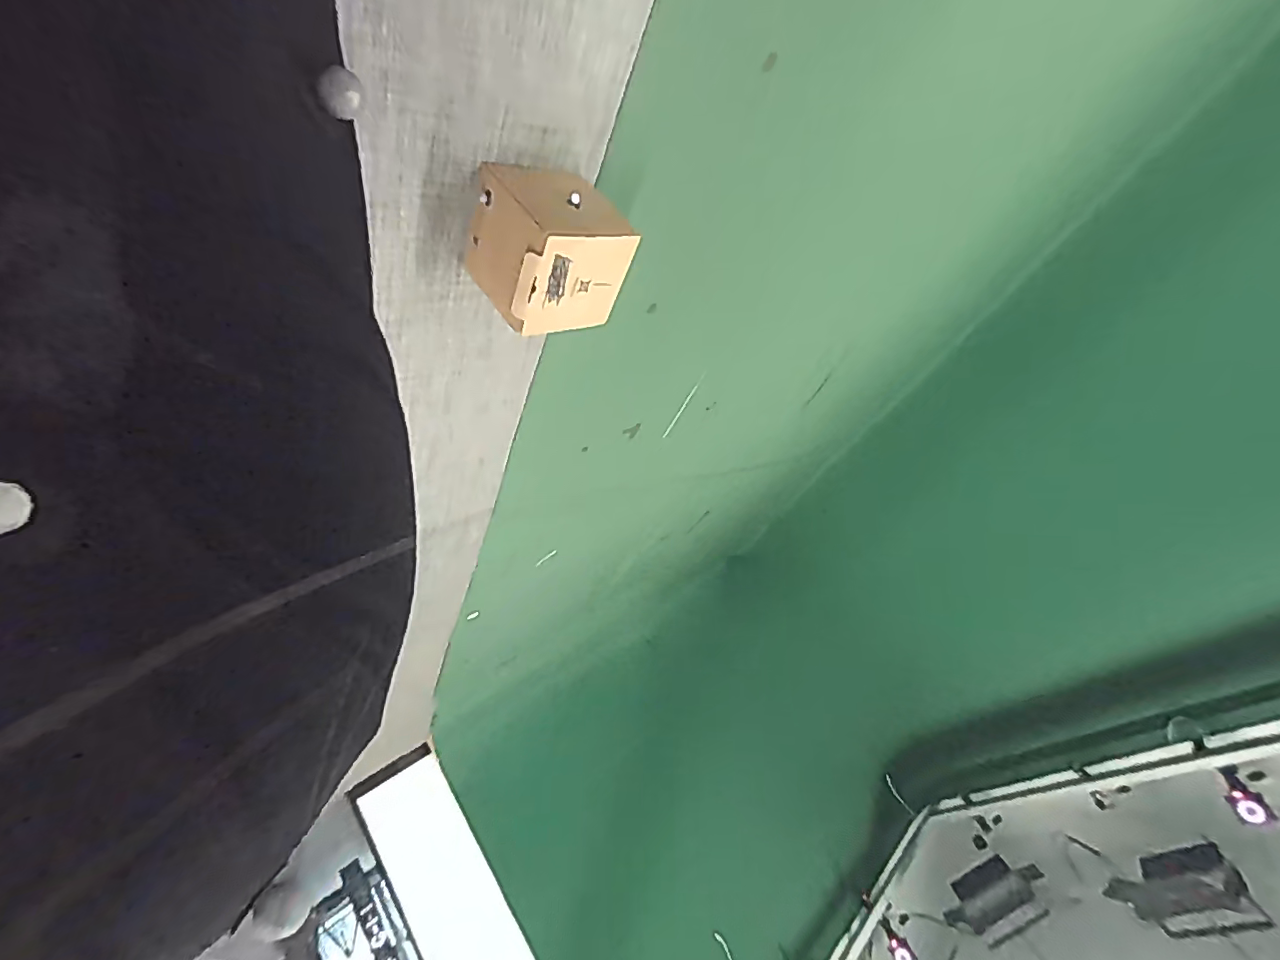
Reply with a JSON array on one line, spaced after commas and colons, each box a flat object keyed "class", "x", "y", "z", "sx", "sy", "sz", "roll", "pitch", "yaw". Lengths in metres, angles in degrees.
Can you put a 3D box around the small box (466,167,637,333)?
[{"class": "small box", "x": -0.142, "y": -0.349, "z": 0.824, "sx": 0.179, "sy": 0.176, "sz": 0.168, "roll": -21, "pitch": 155, "yaw": -40}]
